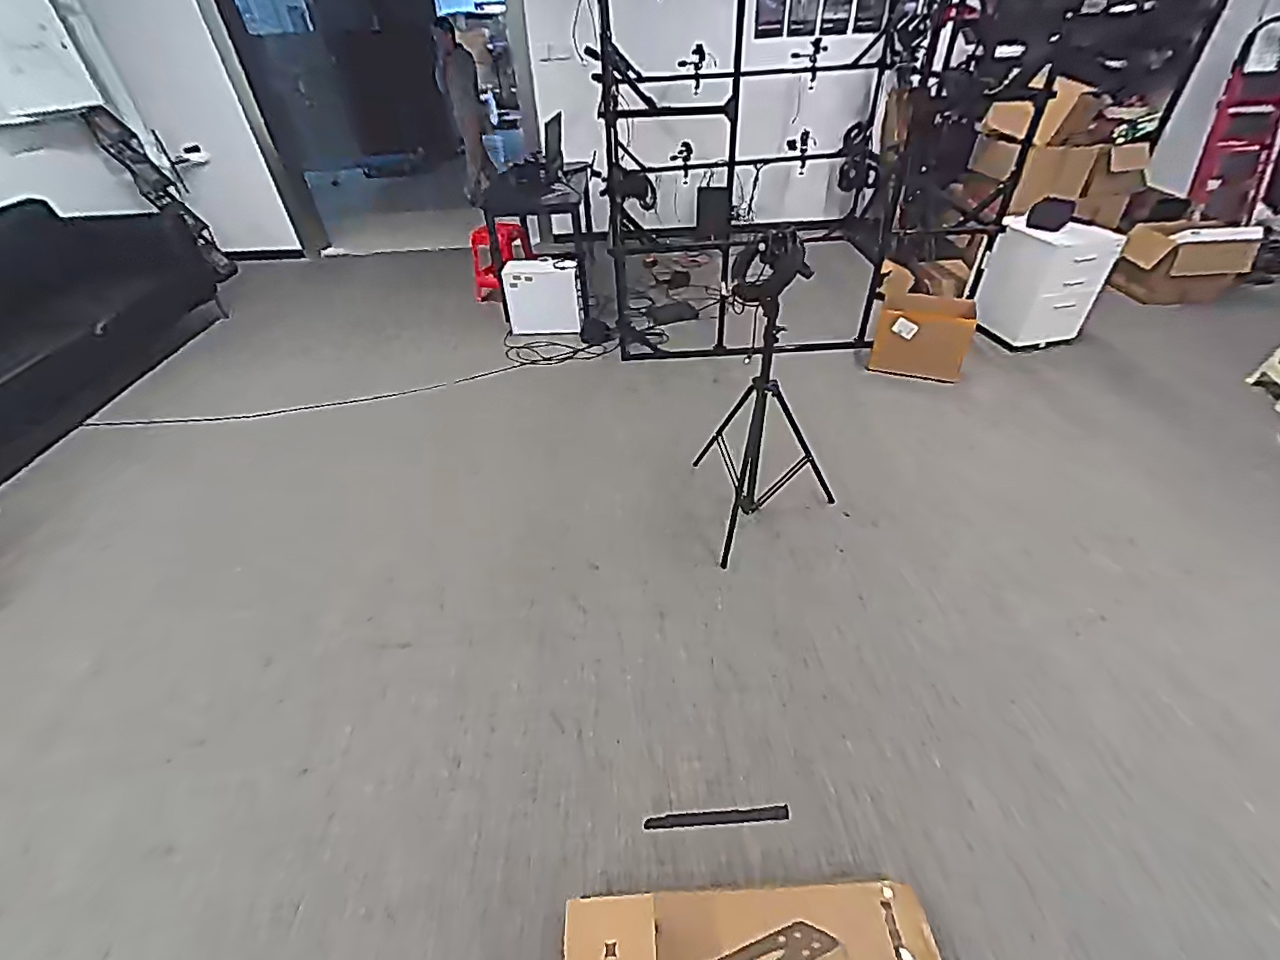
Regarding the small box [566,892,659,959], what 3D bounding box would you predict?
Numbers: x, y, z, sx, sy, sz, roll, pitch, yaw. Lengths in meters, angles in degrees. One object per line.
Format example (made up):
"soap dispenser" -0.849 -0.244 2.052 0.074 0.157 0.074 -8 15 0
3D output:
"small box" -0.049 0.900 1.006 0.168 0.176 0.179 -3 40 -1
